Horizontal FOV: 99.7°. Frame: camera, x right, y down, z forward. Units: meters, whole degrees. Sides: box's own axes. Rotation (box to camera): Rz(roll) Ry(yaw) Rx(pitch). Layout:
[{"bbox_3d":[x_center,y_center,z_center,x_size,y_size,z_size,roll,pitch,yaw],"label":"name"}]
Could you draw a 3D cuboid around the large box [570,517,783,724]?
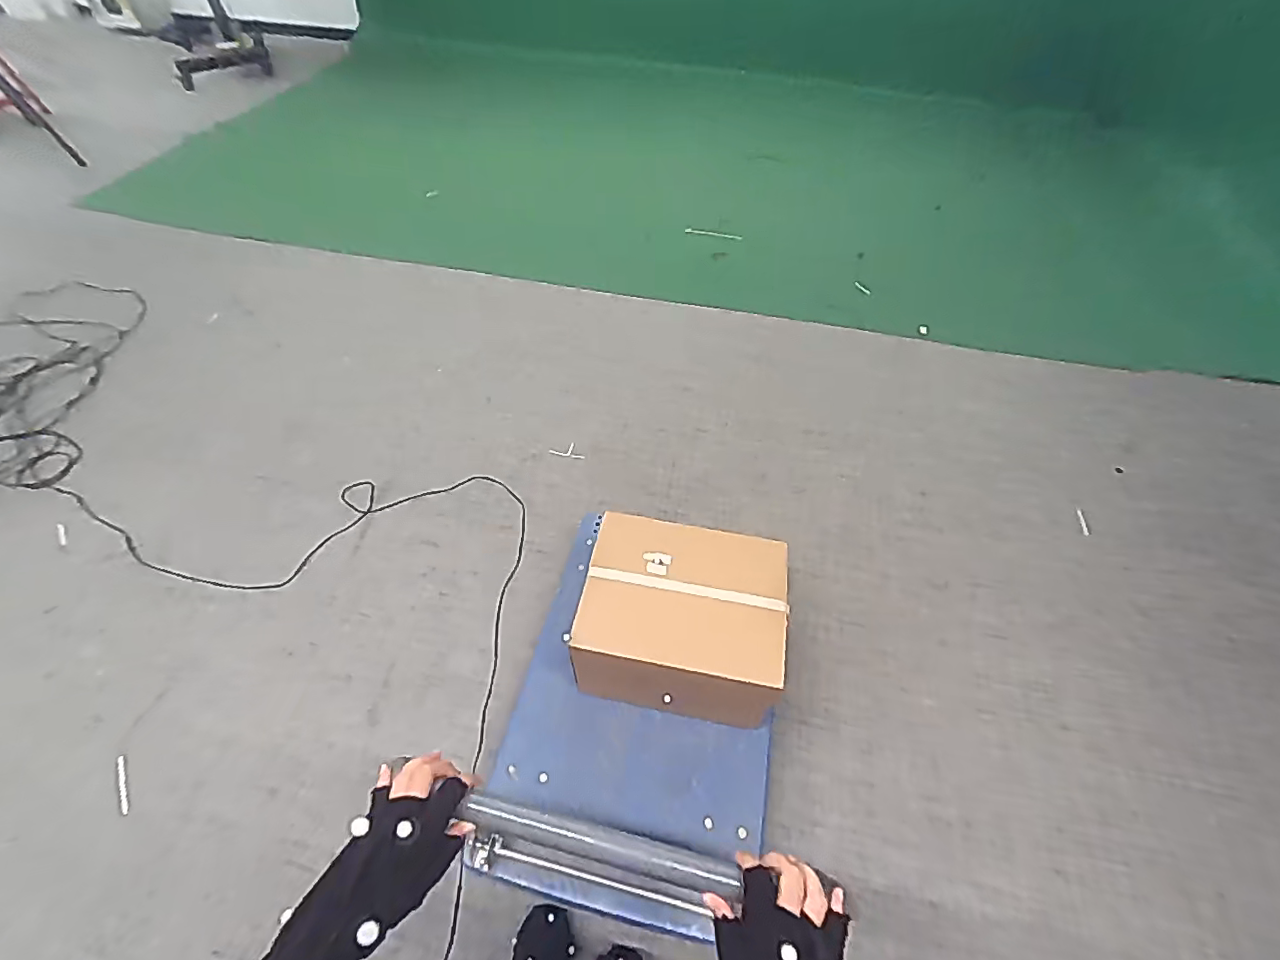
[{"bbox_3d":[0.086,0.320,1.208,0.408,0.320,0.320,9,52,6],"label":"large box"}]
